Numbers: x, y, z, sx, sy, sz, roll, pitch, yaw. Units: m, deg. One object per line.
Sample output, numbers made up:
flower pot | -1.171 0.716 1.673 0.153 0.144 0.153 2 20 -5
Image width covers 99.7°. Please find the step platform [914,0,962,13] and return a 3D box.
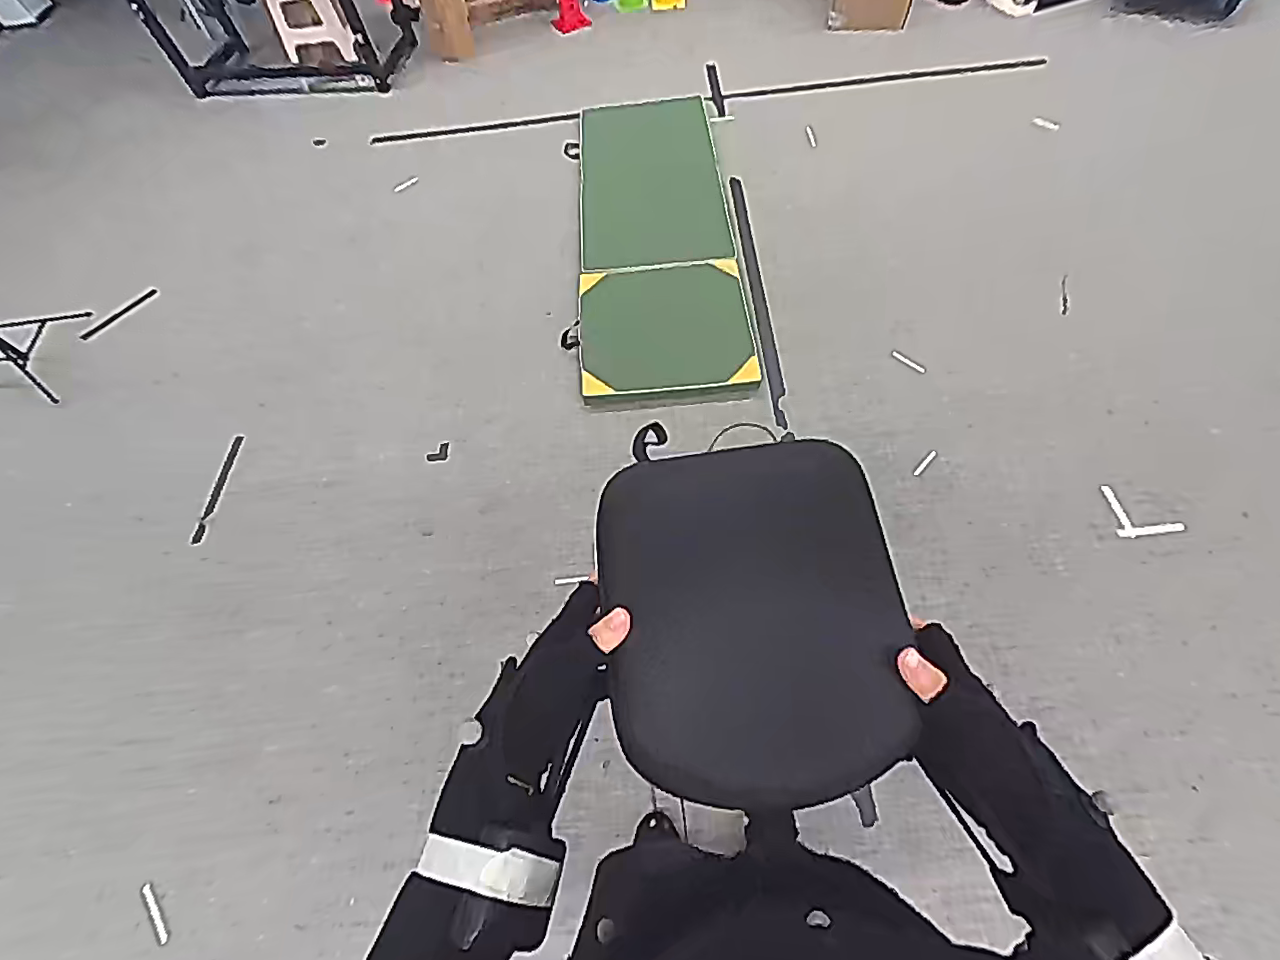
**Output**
step platform | 1.897 -2.867 3.021 0.684 0.204 0.286 -31 63 -12
